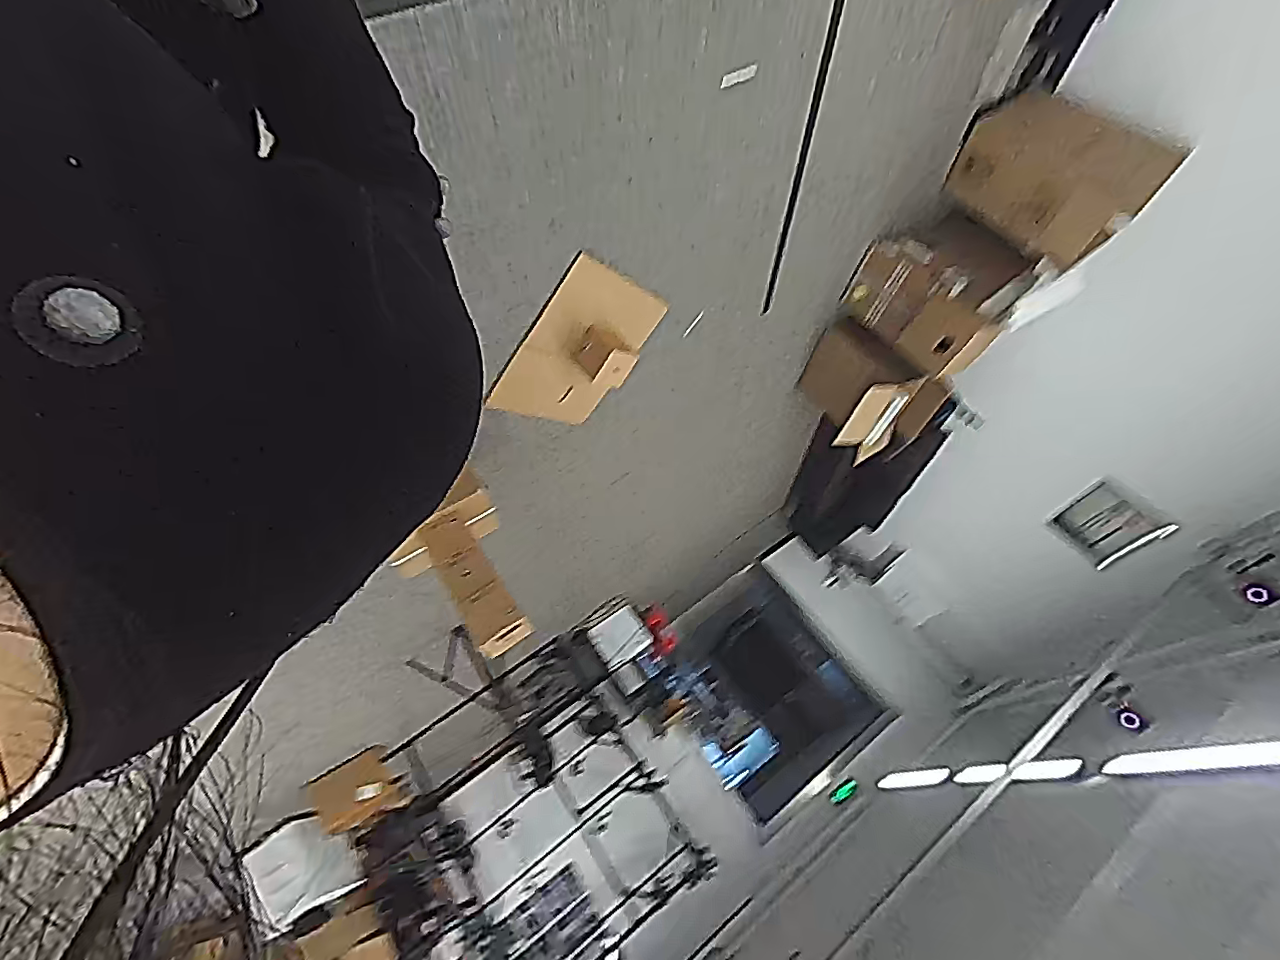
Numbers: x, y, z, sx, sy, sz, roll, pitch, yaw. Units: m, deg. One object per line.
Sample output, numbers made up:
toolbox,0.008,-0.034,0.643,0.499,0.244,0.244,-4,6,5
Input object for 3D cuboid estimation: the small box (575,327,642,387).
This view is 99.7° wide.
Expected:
small box,-0.132,-0.505,2.214,0.179,0.176,0.168,-3,136,-51

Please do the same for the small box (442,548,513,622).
small box,-0.580,0.366,1.921,0.168,0.176,0.179,-31,152,-19

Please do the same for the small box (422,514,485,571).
small box,-0.676,0.248,1.983,0.168,0.176,0.179,-30,153,-22
